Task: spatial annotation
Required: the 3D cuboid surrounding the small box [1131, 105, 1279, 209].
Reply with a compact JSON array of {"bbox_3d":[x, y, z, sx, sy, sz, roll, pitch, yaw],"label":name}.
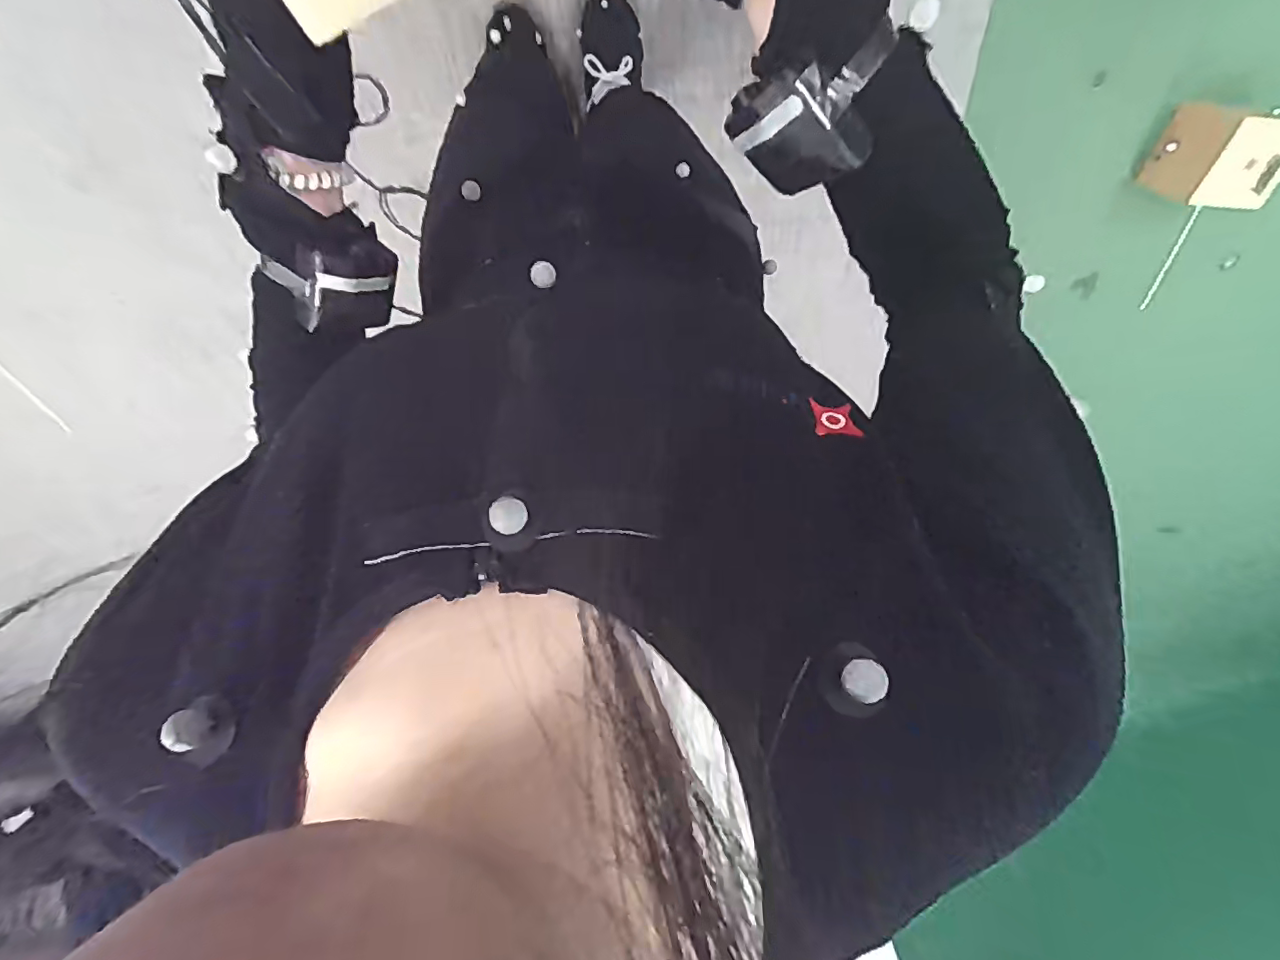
[{"bbox_3d":[1.276,-0.719,1.201,0.179,0.176,0.168,2,132,-5],"label":"small box"}]
